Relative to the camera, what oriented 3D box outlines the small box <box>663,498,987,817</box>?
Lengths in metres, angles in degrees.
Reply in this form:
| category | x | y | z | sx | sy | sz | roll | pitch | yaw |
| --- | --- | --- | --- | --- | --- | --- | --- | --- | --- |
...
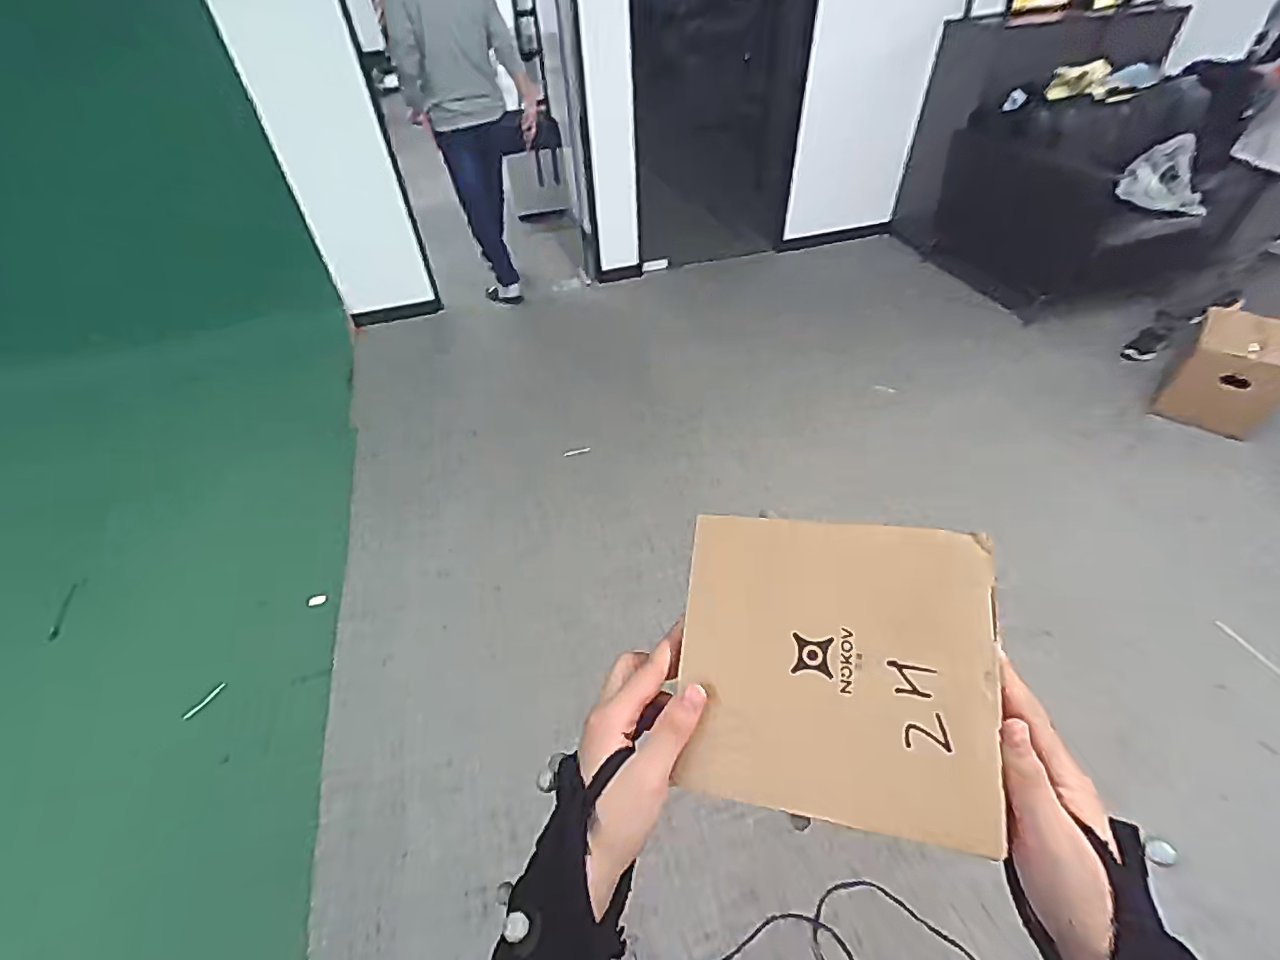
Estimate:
| category | x | y | z | sx | sy | sz | roll | pitch | yaw |
| --- | --- | --- | --- | --- | --- | --- | --- | --- | --- |
| small box | 0.128 | 0.121 | 0.398 | 0.179 | 0.176 | 0.168 | 3 | 71 | 16 |
